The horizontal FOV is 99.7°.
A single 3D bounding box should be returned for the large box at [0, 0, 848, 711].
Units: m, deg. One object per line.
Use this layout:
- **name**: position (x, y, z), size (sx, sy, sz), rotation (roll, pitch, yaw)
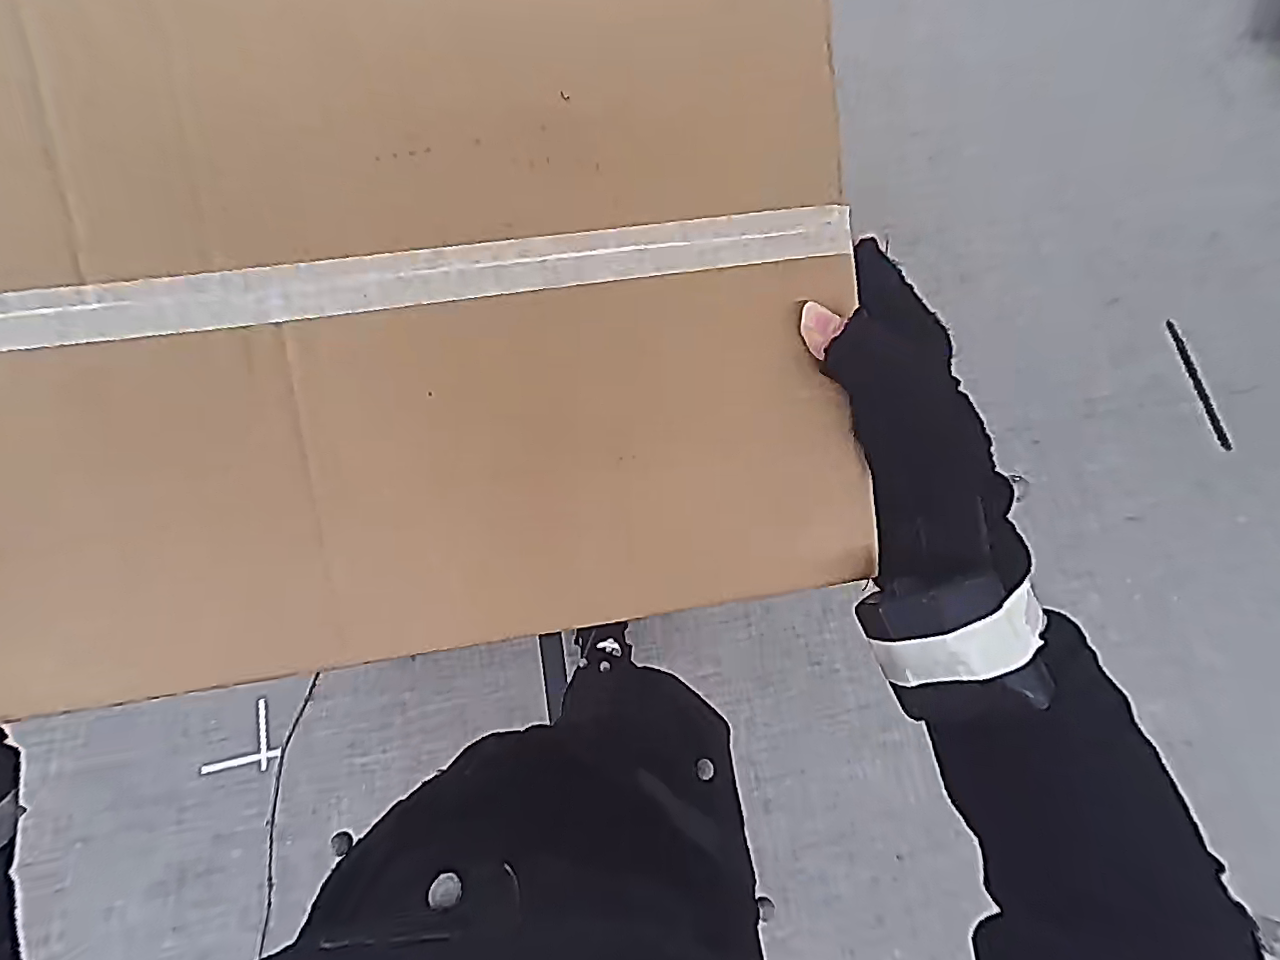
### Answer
- **large box**: position (-0.125, -0.094, 0.379), size (0.408, 0.320, 0.320), rotation (-8, 96, -5)
